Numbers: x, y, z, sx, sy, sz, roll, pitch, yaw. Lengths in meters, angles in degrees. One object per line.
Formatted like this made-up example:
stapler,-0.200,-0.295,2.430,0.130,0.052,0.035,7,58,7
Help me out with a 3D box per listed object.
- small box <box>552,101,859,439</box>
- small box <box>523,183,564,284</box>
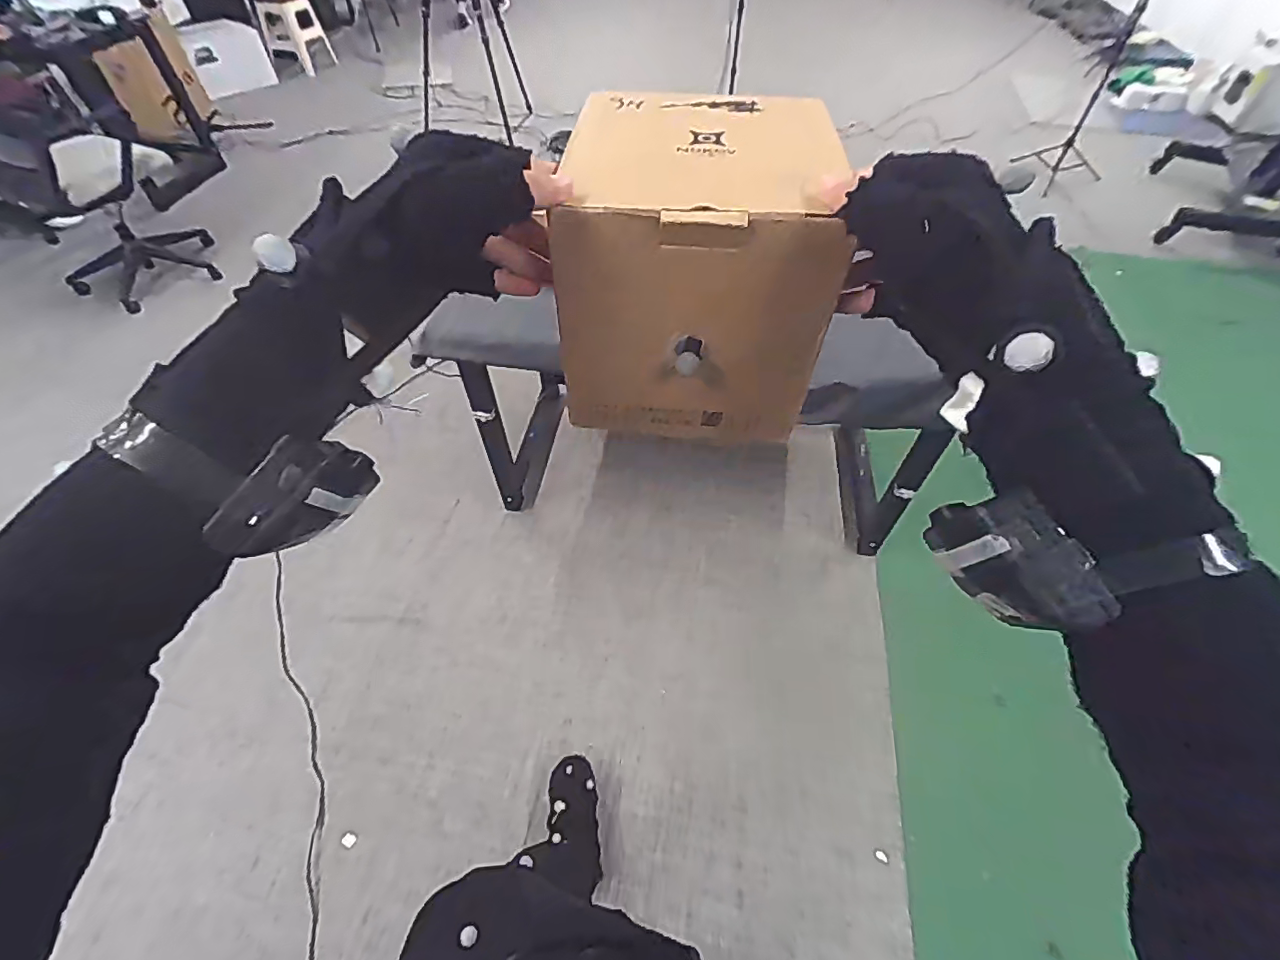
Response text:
small box,0.042,-0.148,0.397,0.168,0.176,0.179,5,52,3
small box,-0.158,-0.570,1.266,0.179,0.176,0.168,6,52,3
